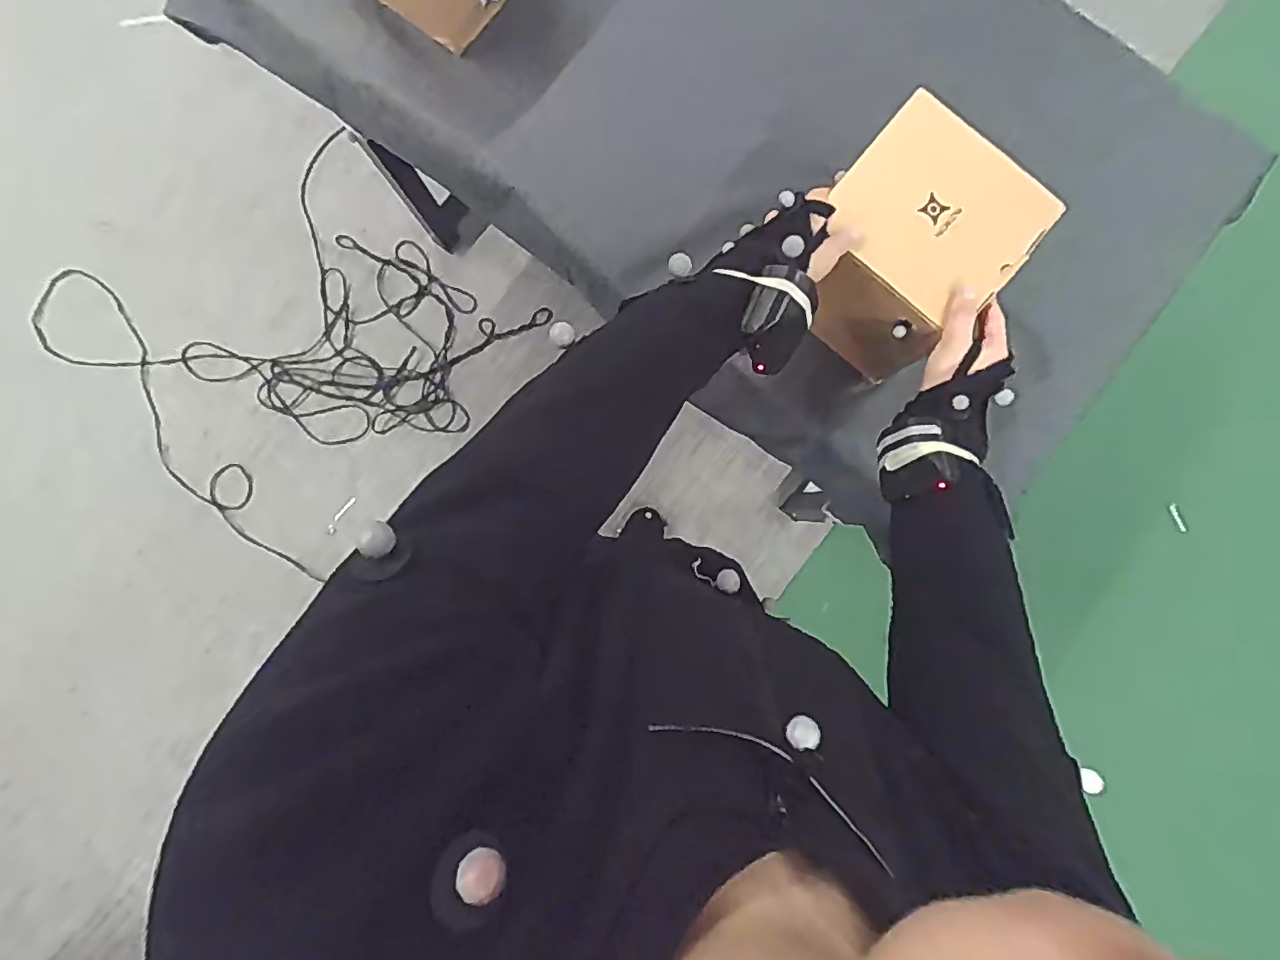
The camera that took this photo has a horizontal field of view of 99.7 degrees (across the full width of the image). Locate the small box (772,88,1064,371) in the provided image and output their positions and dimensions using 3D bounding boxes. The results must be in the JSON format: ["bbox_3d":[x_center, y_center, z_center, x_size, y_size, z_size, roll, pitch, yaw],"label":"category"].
[{"bbox_3d":[0.267,-0.239,0.567,0.179,0.176,0.168,40,87,1],"label":"small box"}]

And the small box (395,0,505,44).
[{"bbox_3d":[-0.237,-0.635,0.581,0.179,0.176,0.168,36,89,0],"label":"small box"}]
